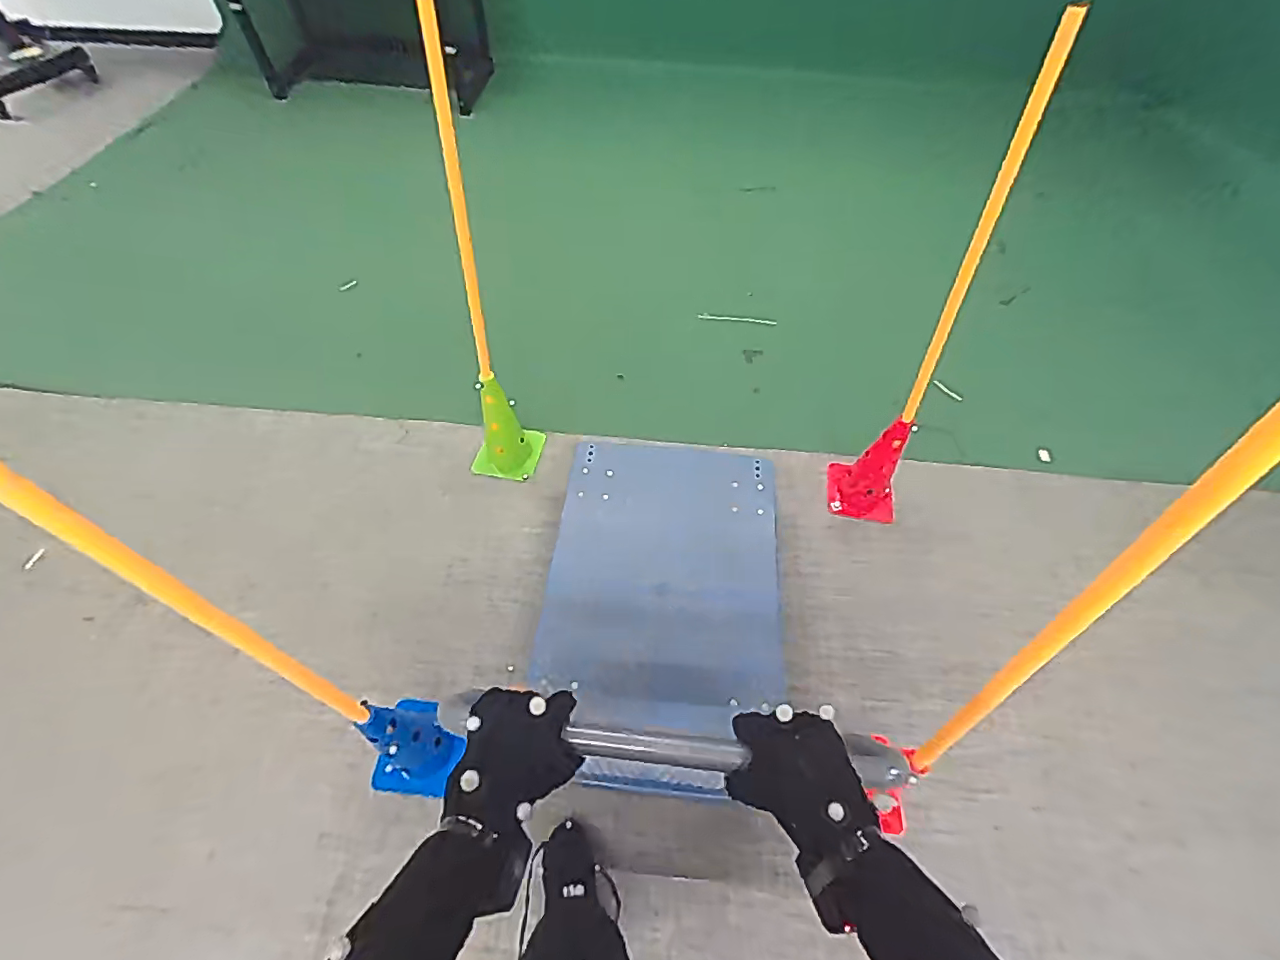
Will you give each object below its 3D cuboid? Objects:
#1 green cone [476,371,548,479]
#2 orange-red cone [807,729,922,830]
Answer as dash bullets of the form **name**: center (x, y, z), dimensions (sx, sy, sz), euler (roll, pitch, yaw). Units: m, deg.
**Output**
- **green cone**: center (-0.422, -0.191, 1.649), dimensions (0.202, 0.368, 0.200), euler (8, 55, 6)
- **orange-red cone**: center (0.495, 0.602, 1.128), dimensions (0.199, 0.360, 0.198), euler (4, 55, 4)
